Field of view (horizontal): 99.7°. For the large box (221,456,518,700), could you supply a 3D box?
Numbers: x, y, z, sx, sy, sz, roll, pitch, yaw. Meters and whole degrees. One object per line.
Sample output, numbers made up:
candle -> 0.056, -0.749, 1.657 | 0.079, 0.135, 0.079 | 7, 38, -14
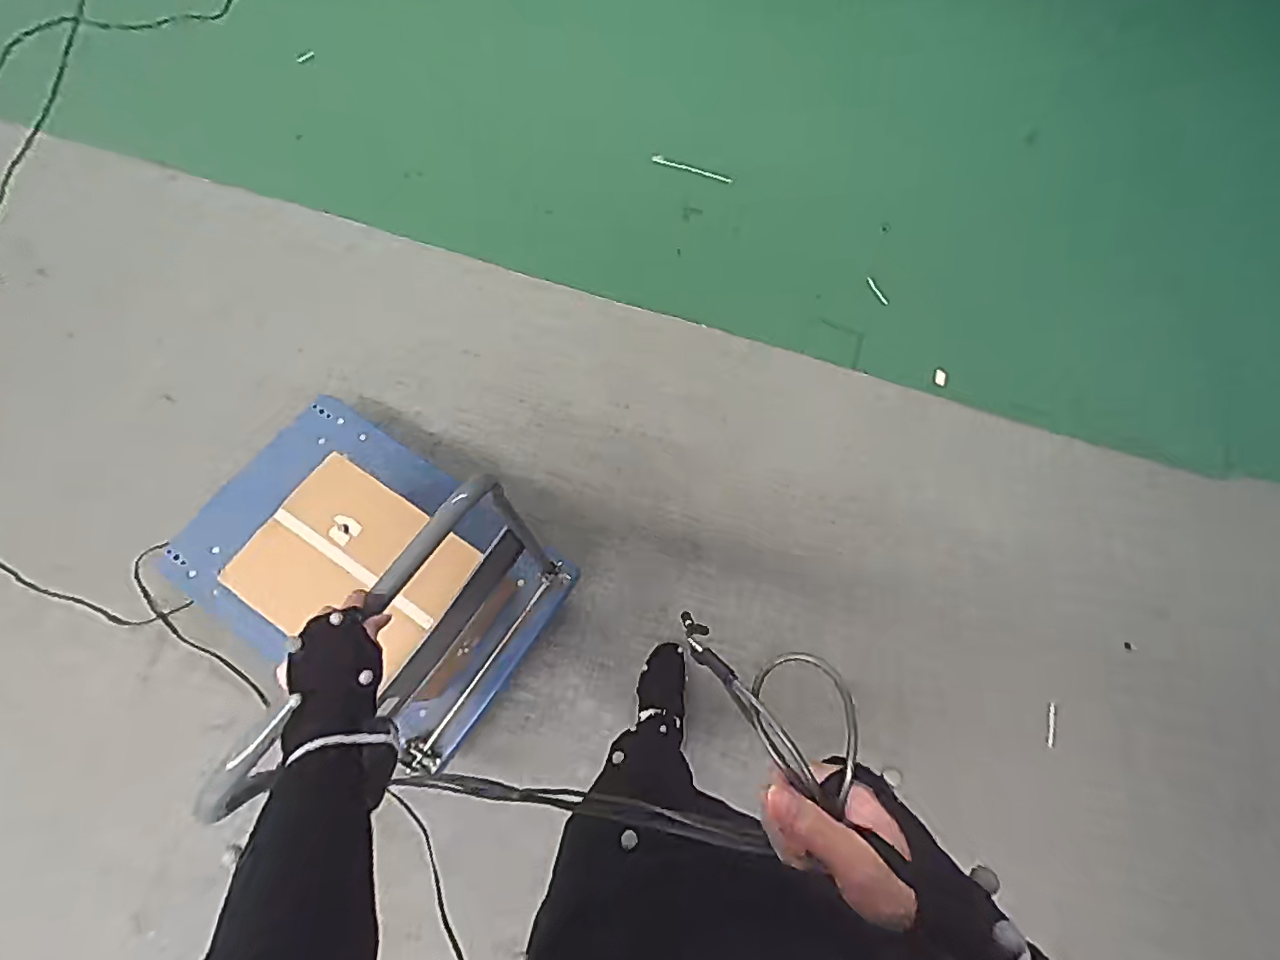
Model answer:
large box -> -0.535, 0.218, 1.155 | 0.408, 0.320, 0.320 | 32, 72, 10
